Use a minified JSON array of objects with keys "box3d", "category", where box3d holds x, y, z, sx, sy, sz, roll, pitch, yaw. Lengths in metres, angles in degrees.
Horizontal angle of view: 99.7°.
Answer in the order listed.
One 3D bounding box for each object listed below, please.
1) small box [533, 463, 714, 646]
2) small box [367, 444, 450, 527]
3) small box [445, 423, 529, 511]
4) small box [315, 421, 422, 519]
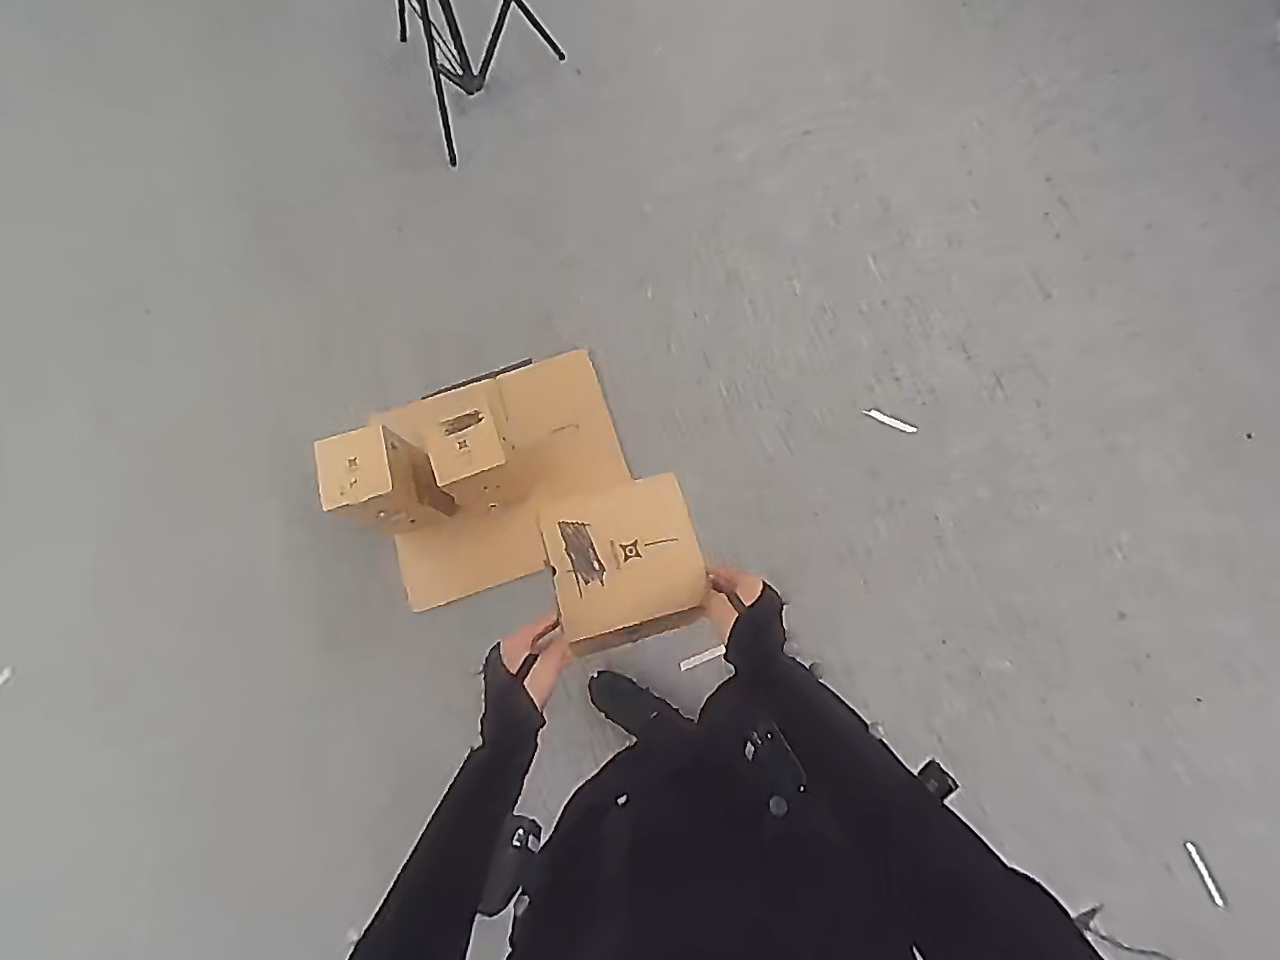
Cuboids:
[{"box3d":[-0.024,0.102,0.684,0.179,0.176,0.168,-14,69,-9],"category":"small box"},{"box3d":[-0.639,0.024,1.474,0.168,0.176,0.179,-17,77,-3],"category":"small box"},{"box3d":[-0.416,-0.031,1.484,0.168,0.176,0.179,-15,76,-3],"category":"small box"},{"box3d":[-0.654,-0.019,1.315,0.168,0.176,0.179,-16,76,-2],"category":"small box"}]
